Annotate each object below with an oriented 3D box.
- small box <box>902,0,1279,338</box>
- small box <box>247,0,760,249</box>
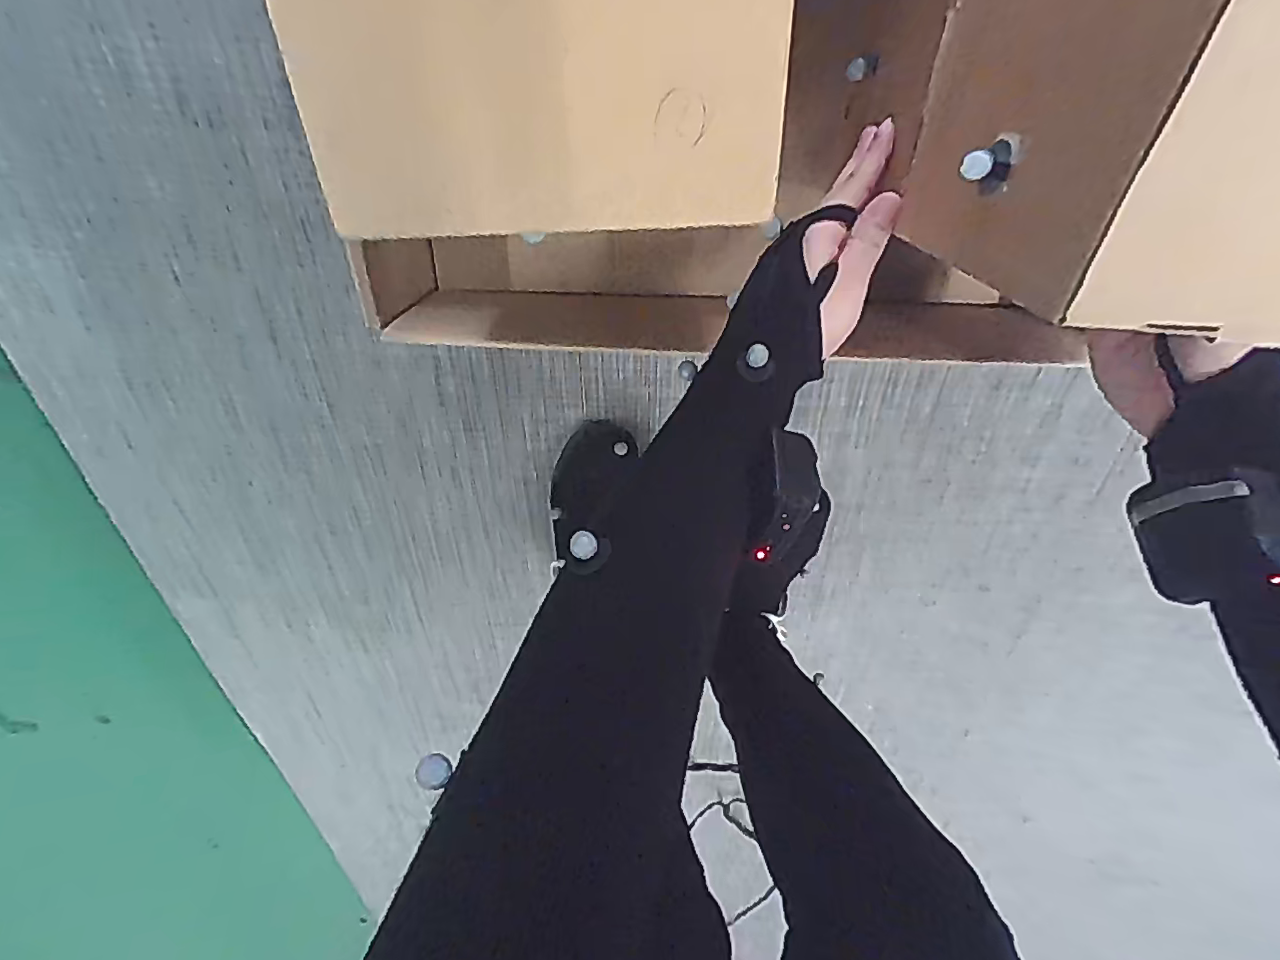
[{"bbox_3d":[0.230,-0.170,0.214,0.168,0.176,0.179,3,125,0],"label":"small box"},{"bbox_3d":[-0.041,-0.208,0.228,0.168,0.176,0.179,-2,122,2],"label":"small box"}]
